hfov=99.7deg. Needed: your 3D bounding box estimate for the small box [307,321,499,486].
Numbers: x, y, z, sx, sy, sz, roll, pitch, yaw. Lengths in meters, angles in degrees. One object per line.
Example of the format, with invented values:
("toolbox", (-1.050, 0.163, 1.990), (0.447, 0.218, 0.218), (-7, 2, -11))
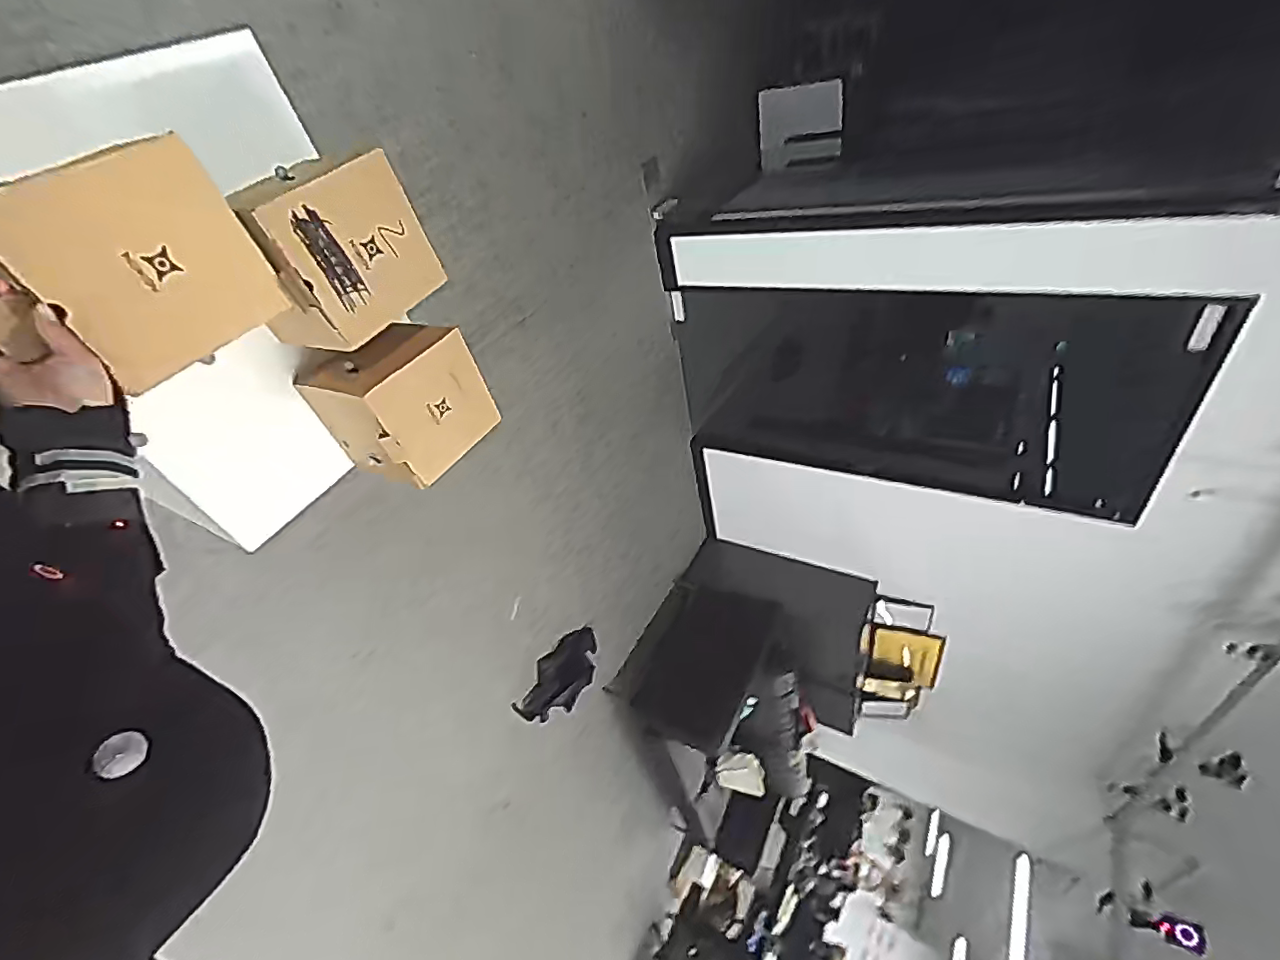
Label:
("small box", (-0.352, -0.120, 0.803), (0.179, 0.176, 0.168), (-55, 145, -34))
